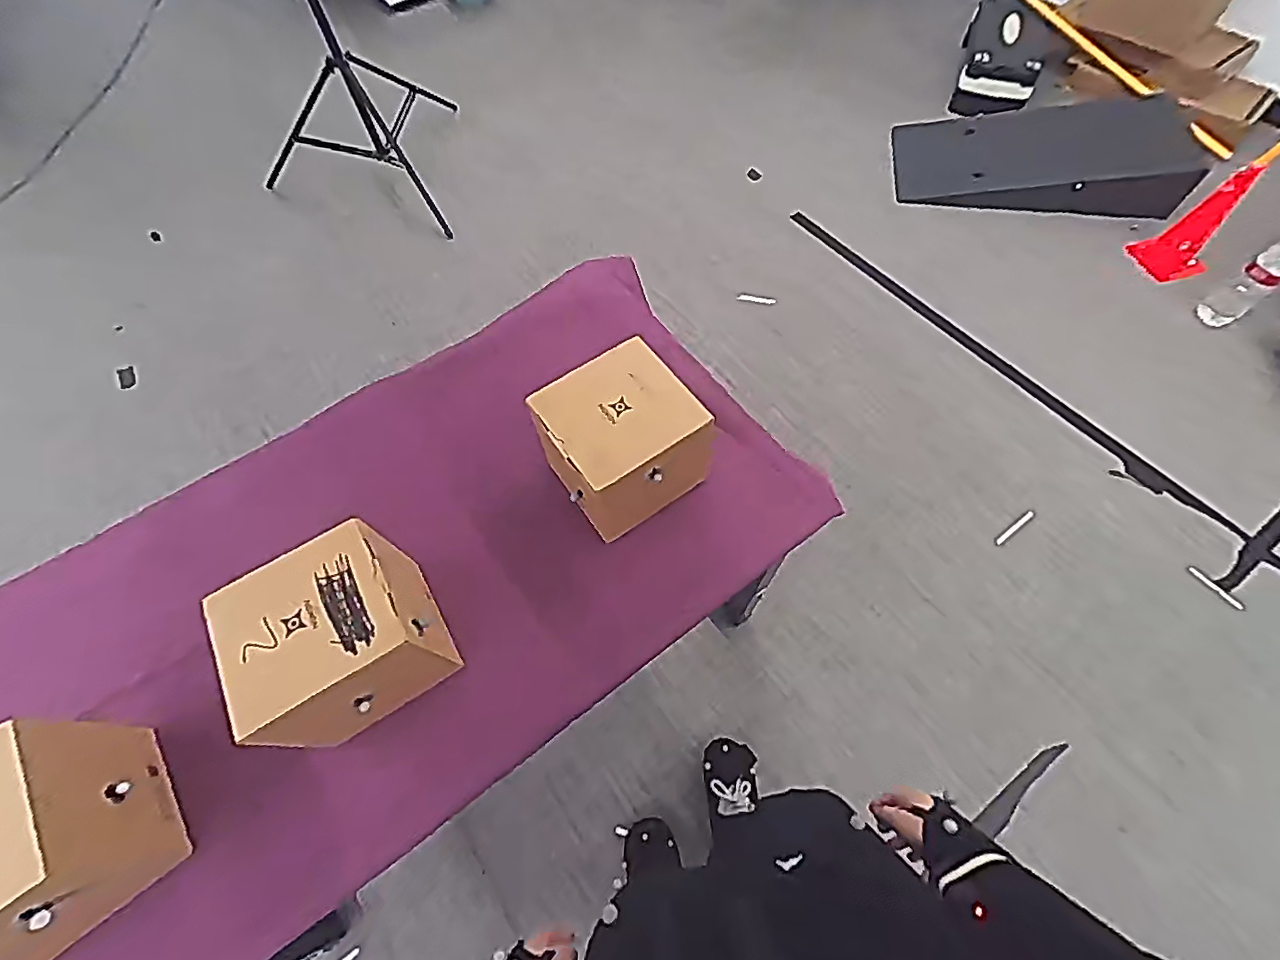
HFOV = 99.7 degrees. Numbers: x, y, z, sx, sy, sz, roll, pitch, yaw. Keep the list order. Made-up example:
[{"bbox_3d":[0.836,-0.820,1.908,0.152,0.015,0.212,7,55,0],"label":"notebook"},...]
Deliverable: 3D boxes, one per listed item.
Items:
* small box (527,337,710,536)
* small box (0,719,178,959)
[{"bbox_3d":[-0.025,-0.051,0.735,0.179,0.176,0.168,-32,67,-14],"label":"small box"},{"bbox_3d":[-0.618,0.370,0.542,0.179,0.176,0.168,-36,66,-15],"label":"small box"}]
